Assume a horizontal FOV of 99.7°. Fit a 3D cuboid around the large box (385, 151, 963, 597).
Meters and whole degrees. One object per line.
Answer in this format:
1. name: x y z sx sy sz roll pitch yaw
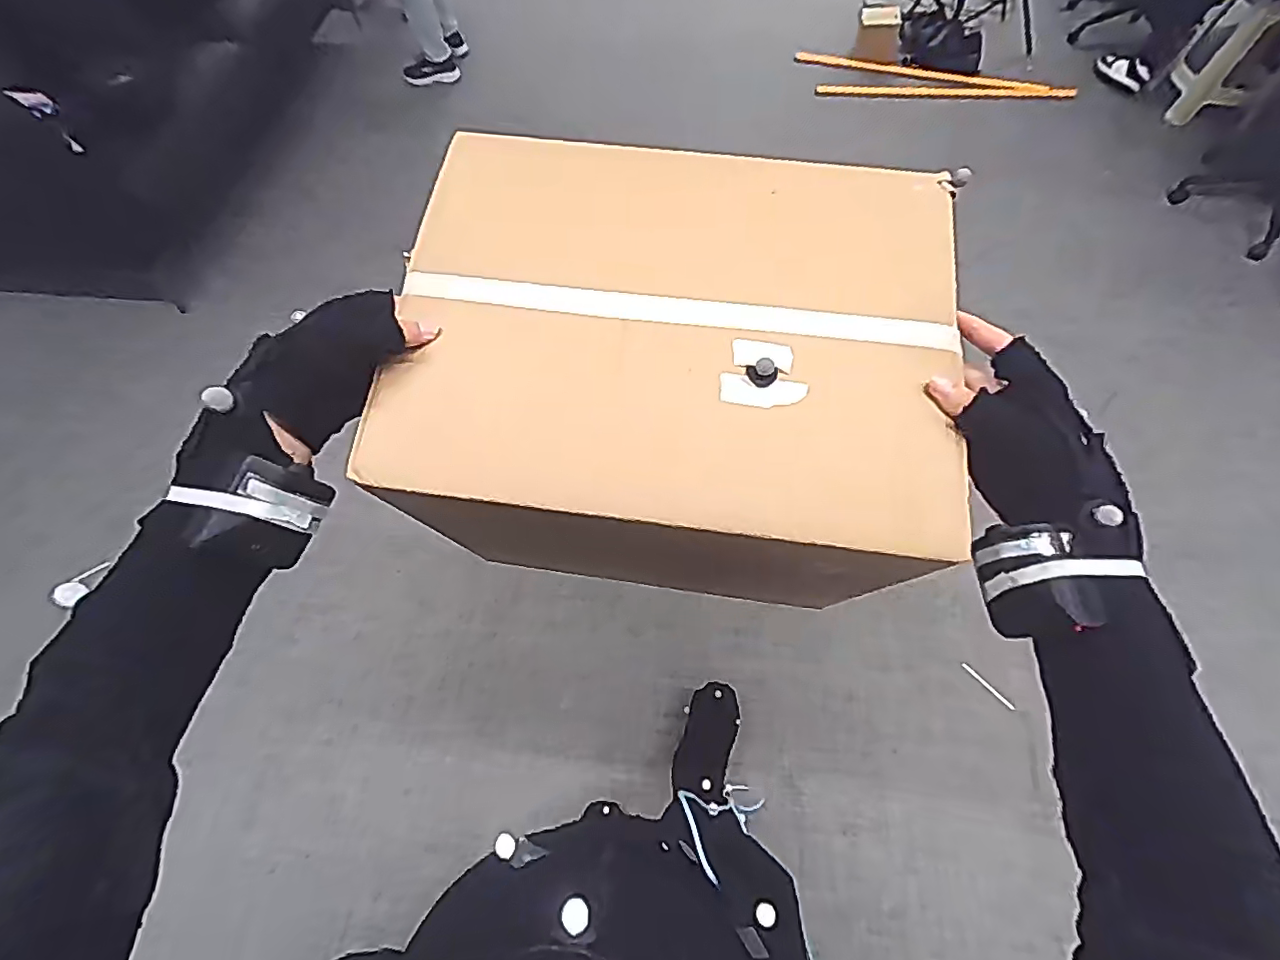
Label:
1. large box: 0.035 -0.074 0.553 0.408 0.320 0.320 7 72 3
